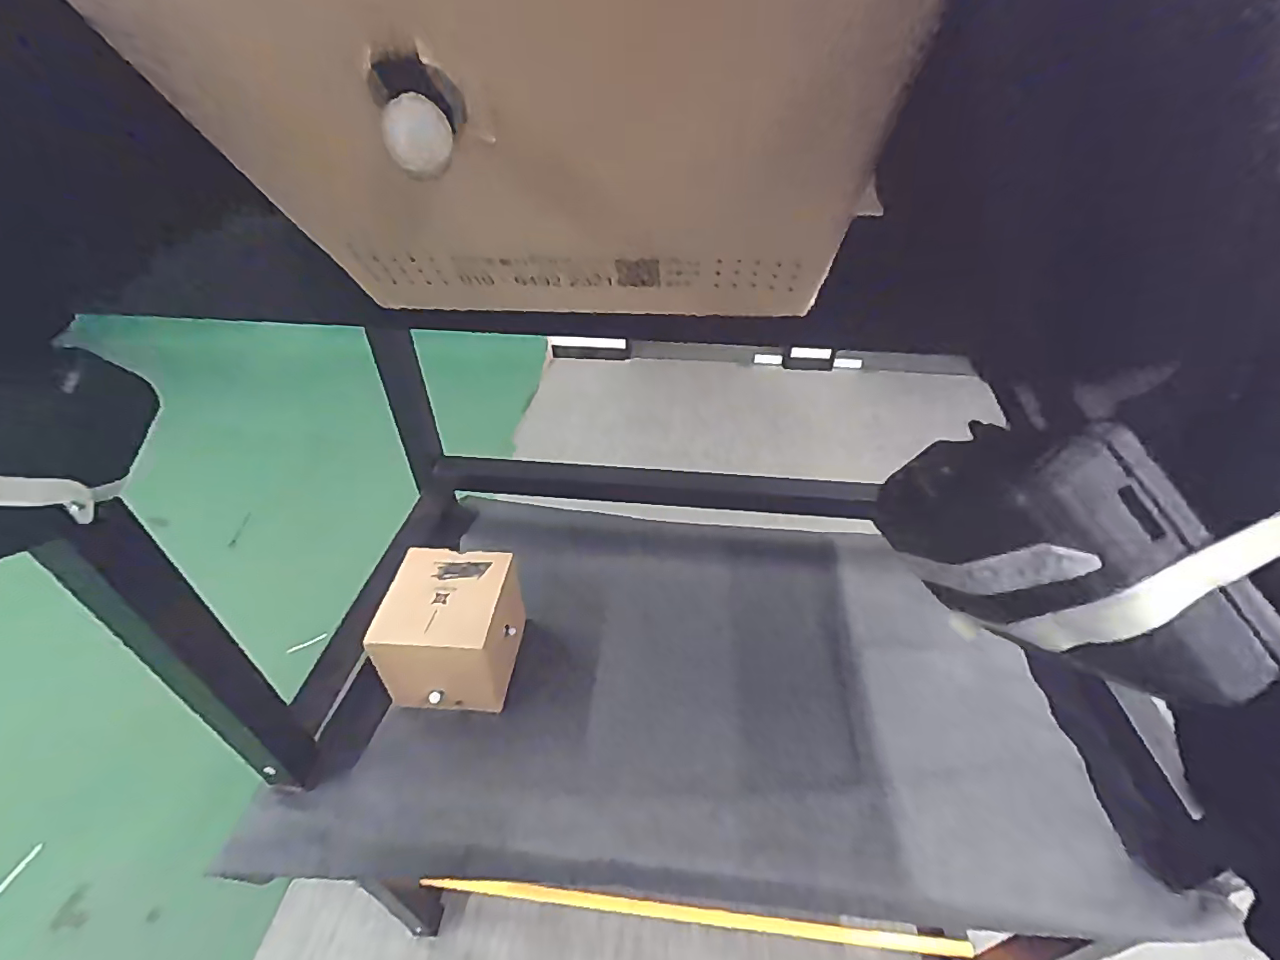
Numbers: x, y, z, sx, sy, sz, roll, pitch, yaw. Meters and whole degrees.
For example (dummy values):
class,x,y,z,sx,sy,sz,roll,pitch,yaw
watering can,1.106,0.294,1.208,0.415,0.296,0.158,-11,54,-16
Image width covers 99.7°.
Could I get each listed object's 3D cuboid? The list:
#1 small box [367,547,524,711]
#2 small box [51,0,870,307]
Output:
class,x,y,z,sx,sy,sz,roll,pitch,yaw
small box,-0.281,0.227,0.832,0.168,0.176,0.179,2,39,3
small box,-0.029,-0.163,0.146,0.168,0.176,0.179,2,78,5
